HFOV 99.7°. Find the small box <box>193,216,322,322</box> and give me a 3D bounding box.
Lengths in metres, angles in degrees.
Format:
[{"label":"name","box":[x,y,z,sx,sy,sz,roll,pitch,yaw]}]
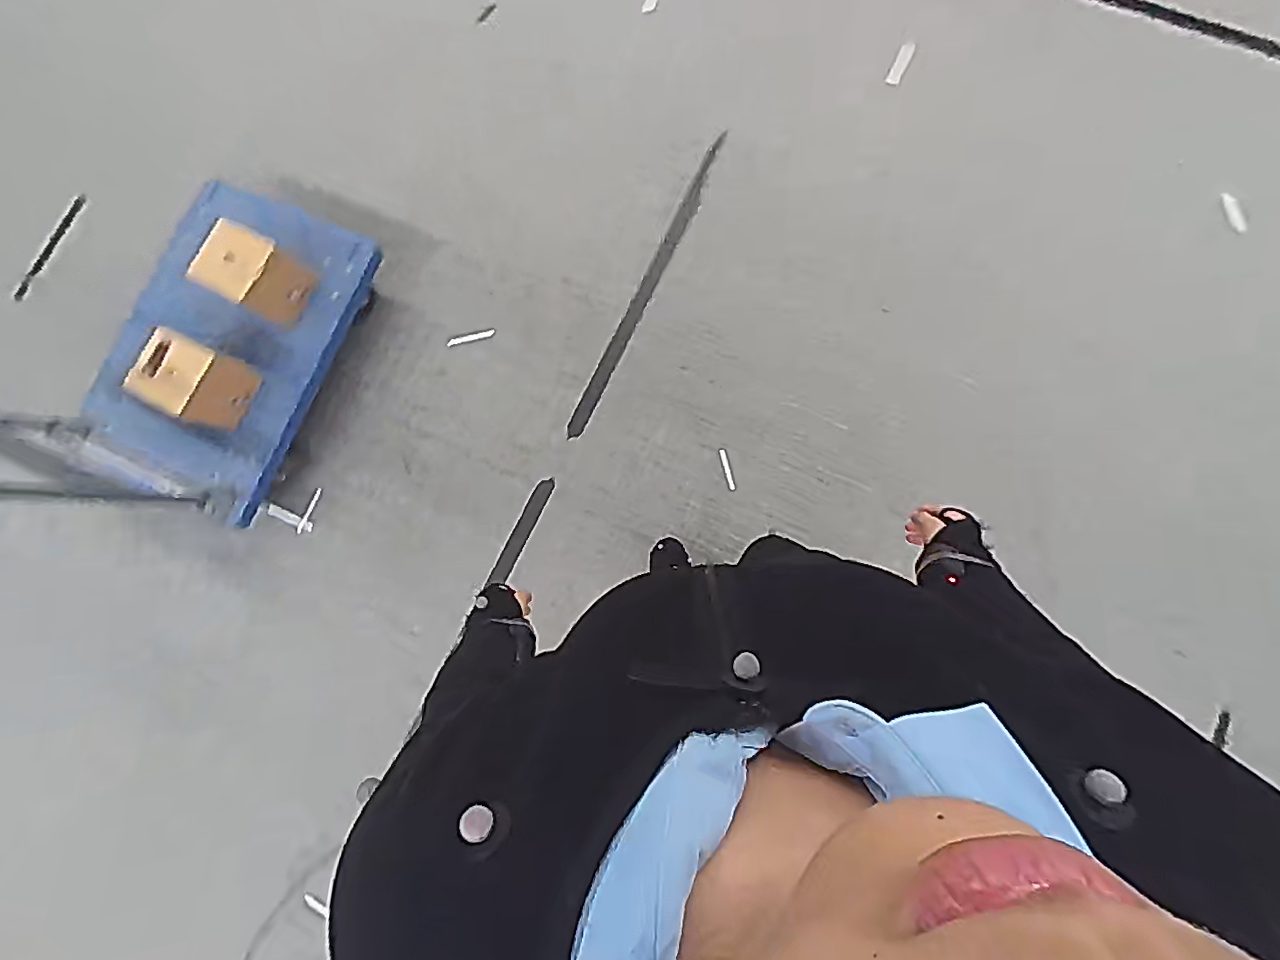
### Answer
[{"label":"small box","box":[-0.981,-0.537,1.402,0.179,0.176,0.168,28,86,7]}]
